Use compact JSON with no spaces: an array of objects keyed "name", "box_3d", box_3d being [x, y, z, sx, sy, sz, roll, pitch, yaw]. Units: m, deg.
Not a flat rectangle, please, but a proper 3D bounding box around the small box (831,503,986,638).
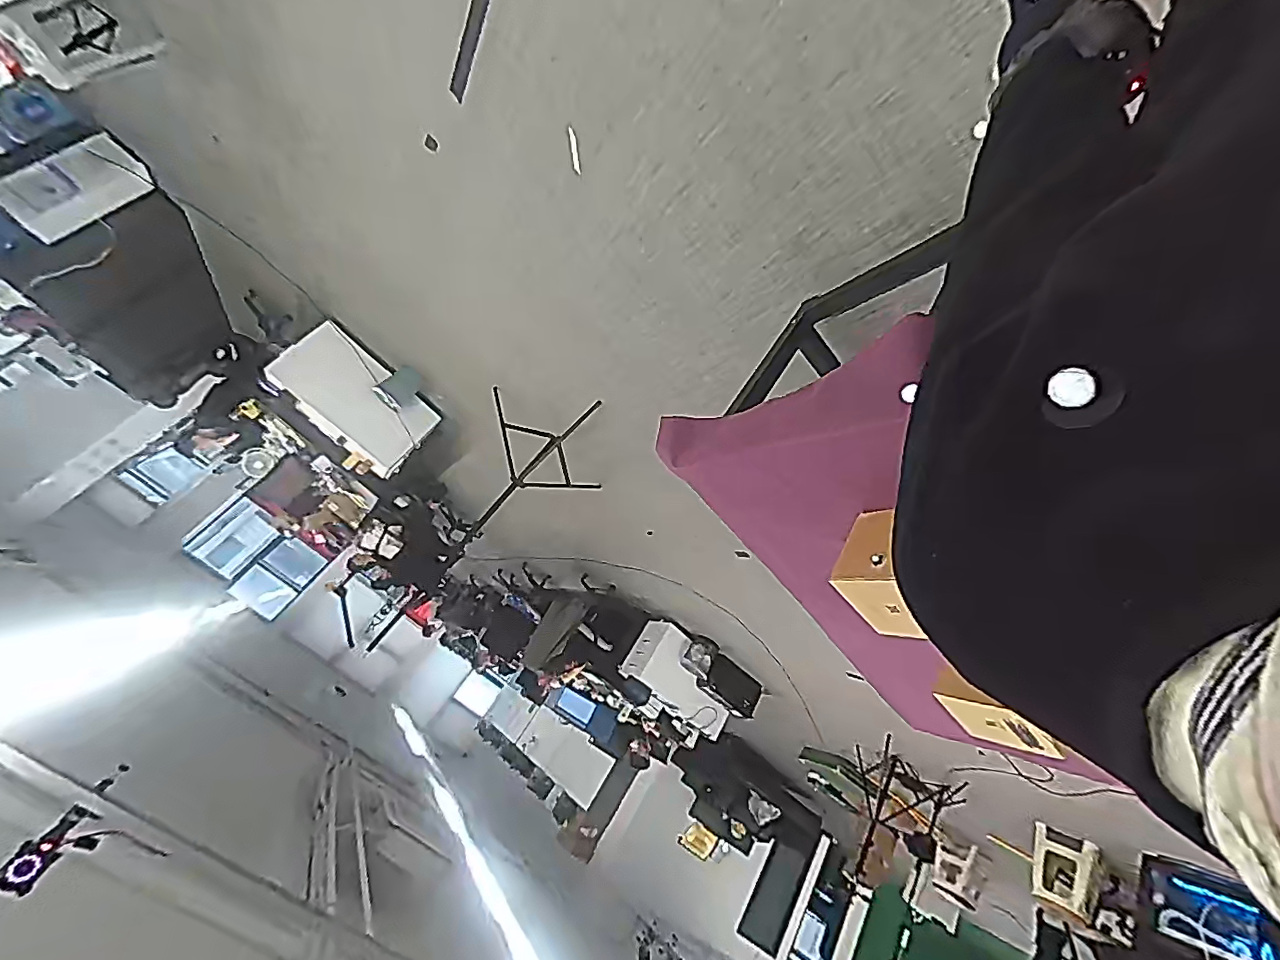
[{"name":"small box","box_3d":[0.483,0.156,0.961,0.168,0.176,0.179,44,154,-16]}]
